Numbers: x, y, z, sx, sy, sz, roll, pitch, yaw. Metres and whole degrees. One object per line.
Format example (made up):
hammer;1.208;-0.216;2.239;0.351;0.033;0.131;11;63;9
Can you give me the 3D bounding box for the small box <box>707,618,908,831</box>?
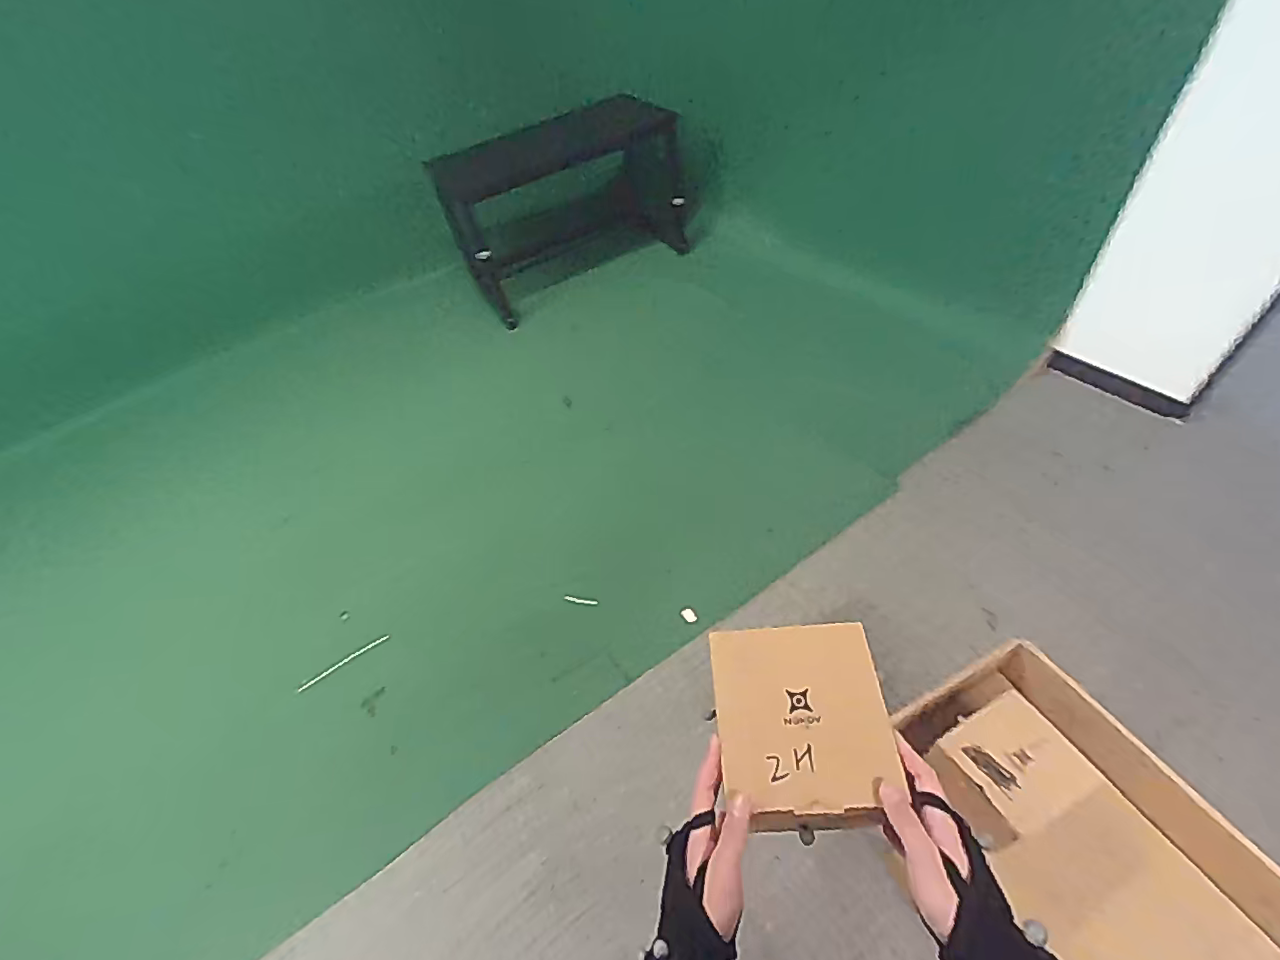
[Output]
small box;0.162;0.270;0.590;0.168;0.176;0.179;-6;52;6
